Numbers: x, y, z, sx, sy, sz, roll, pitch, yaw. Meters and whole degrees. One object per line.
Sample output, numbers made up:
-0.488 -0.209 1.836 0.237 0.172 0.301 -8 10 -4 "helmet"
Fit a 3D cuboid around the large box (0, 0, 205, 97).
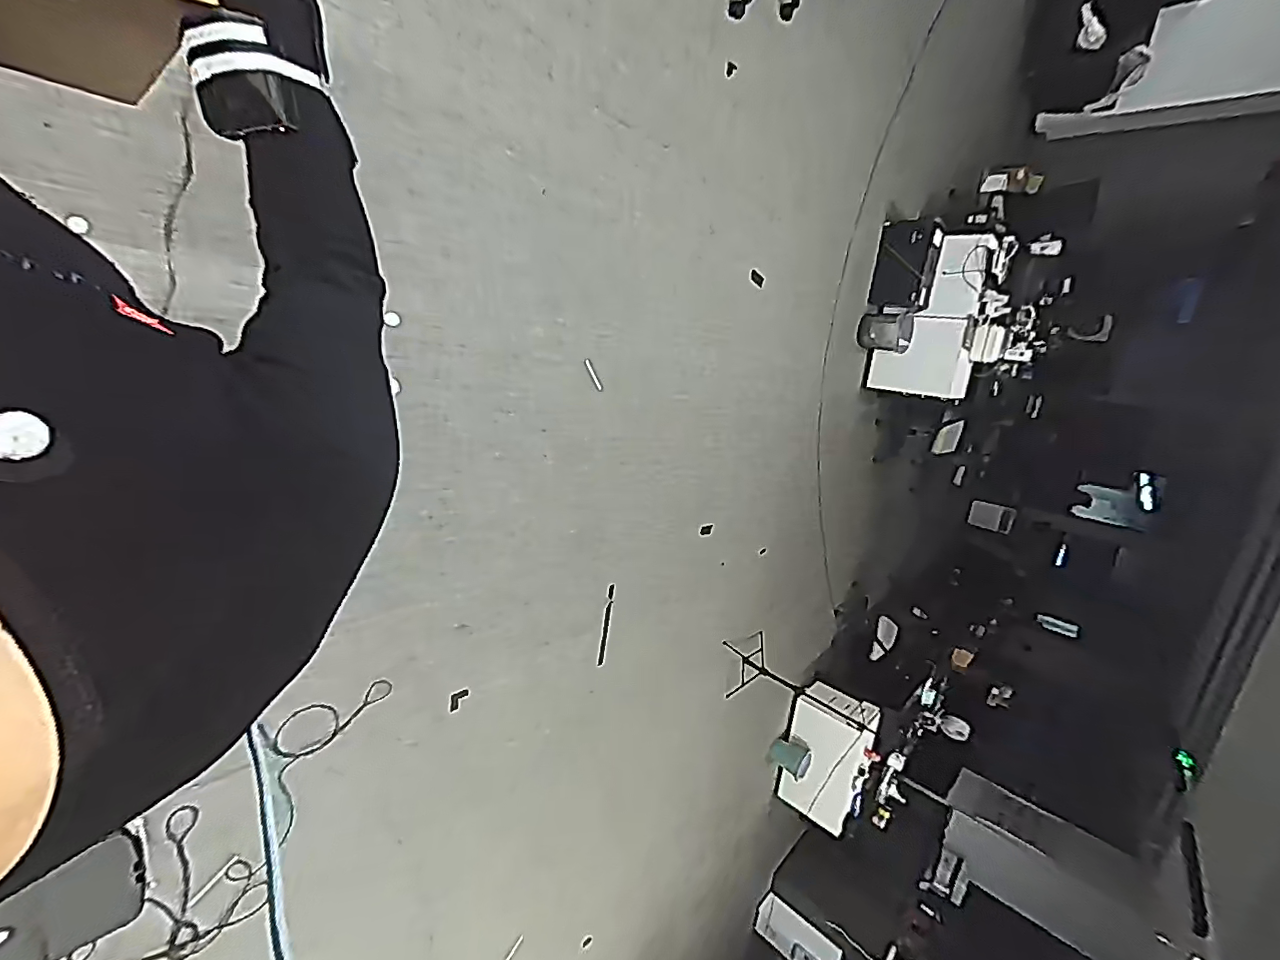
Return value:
-0.509 -0.468 0.265 0.408 0.320 0.320 -10 111 -49 "large box"
